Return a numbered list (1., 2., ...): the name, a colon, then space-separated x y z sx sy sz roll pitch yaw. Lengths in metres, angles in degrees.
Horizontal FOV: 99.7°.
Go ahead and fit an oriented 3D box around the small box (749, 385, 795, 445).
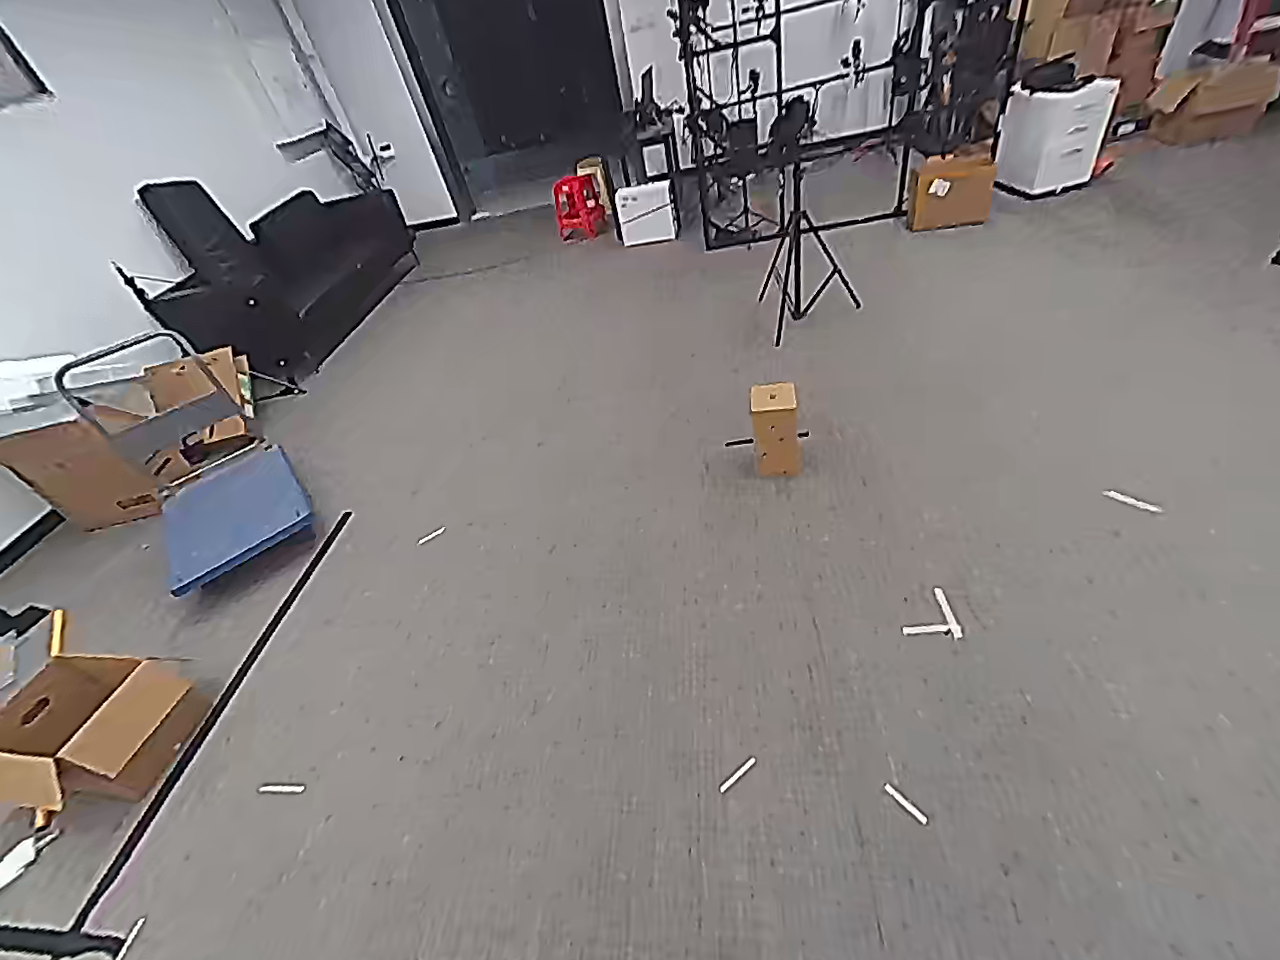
1. small box: 0.517 -0.247 2.113 0.168 0.176 0.179 -3 41 13
